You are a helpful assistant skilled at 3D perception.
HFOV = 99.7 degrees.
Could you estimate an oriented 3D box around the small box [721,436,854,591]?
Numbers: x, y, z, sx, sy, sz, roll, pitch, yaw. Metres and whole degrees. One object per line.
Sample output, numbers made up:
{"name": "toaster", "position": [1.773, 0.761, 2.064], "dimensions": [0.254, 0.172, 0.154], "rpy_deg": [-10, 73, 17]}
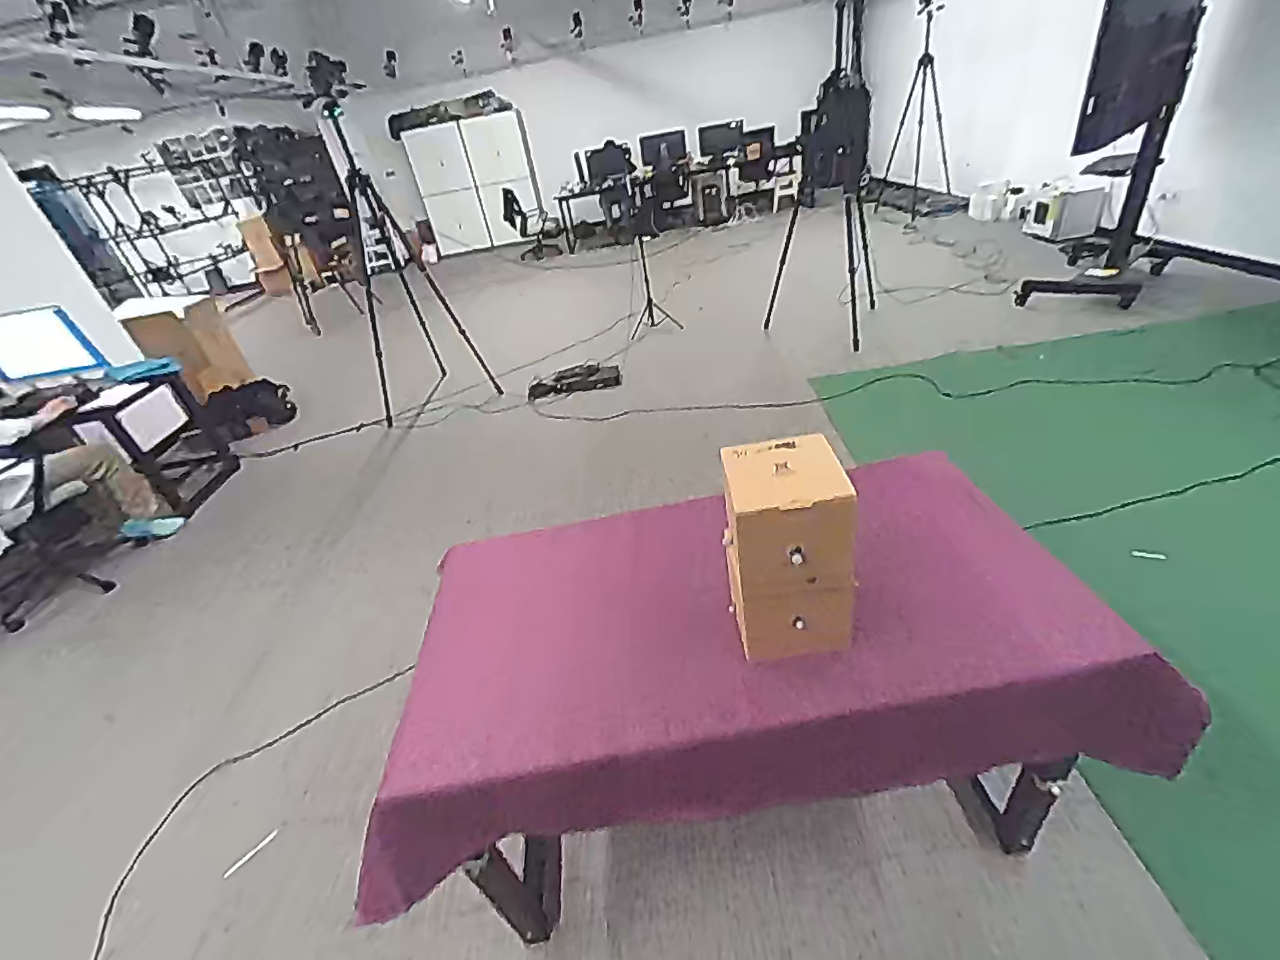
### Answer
{"name": "small box", "position": [0.223, 0.057, 0.841], "dimensions": [0.168, 0.176, 0.179], "rpy_deg": [-8, 34, 6]}
